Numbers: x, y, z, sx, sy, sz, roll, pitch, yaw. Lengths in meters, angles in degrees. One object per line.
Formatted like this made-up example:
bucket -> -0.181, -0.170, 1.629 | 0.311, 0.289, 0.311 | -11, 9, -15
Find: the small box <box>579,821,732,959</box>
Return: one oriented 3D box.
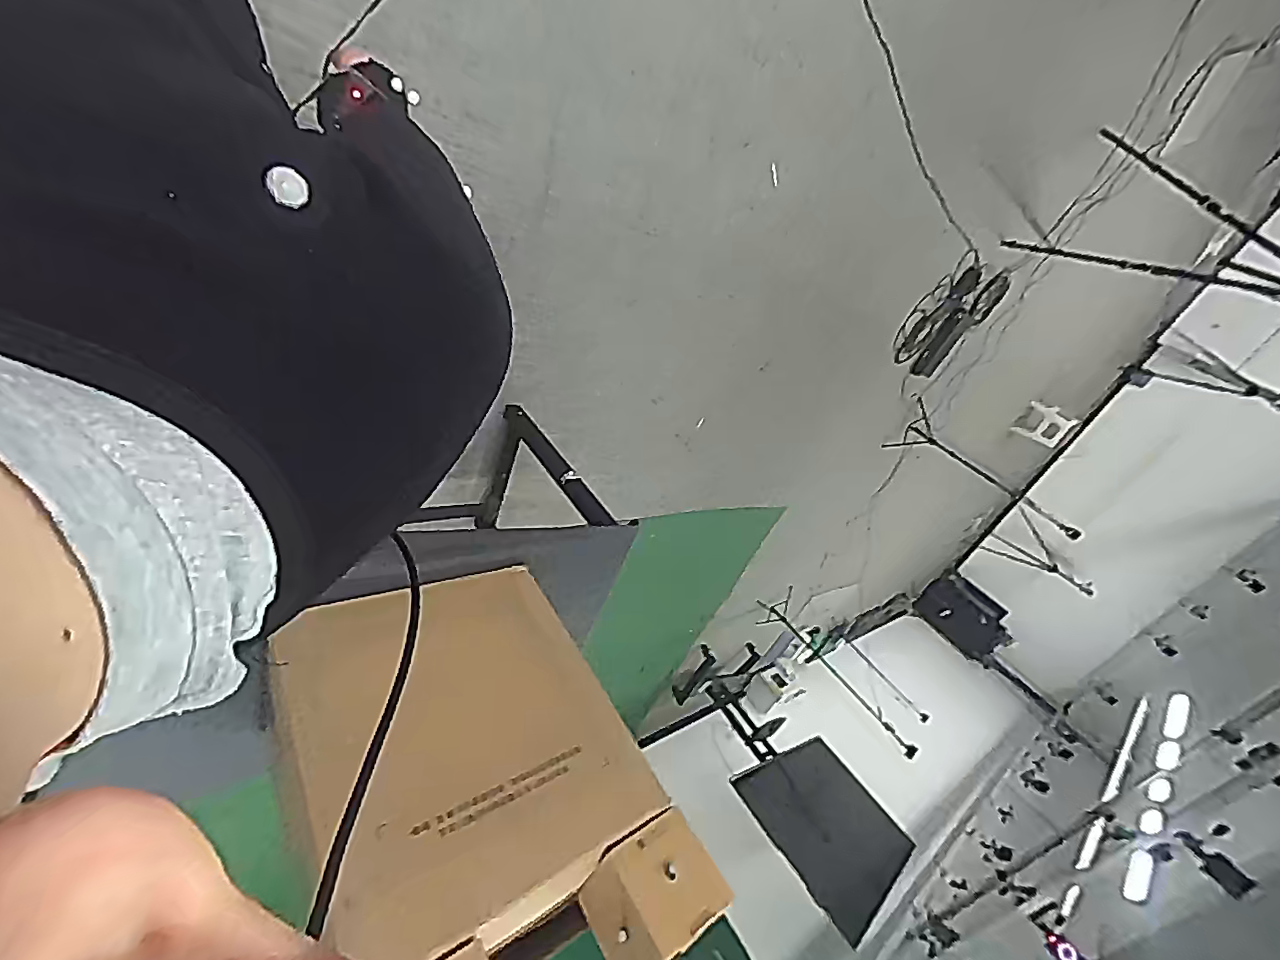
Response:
small box -> 0.018, 0.724, 0.922 | 0.168, 0.176, 0.179 | -6, 131, -40
